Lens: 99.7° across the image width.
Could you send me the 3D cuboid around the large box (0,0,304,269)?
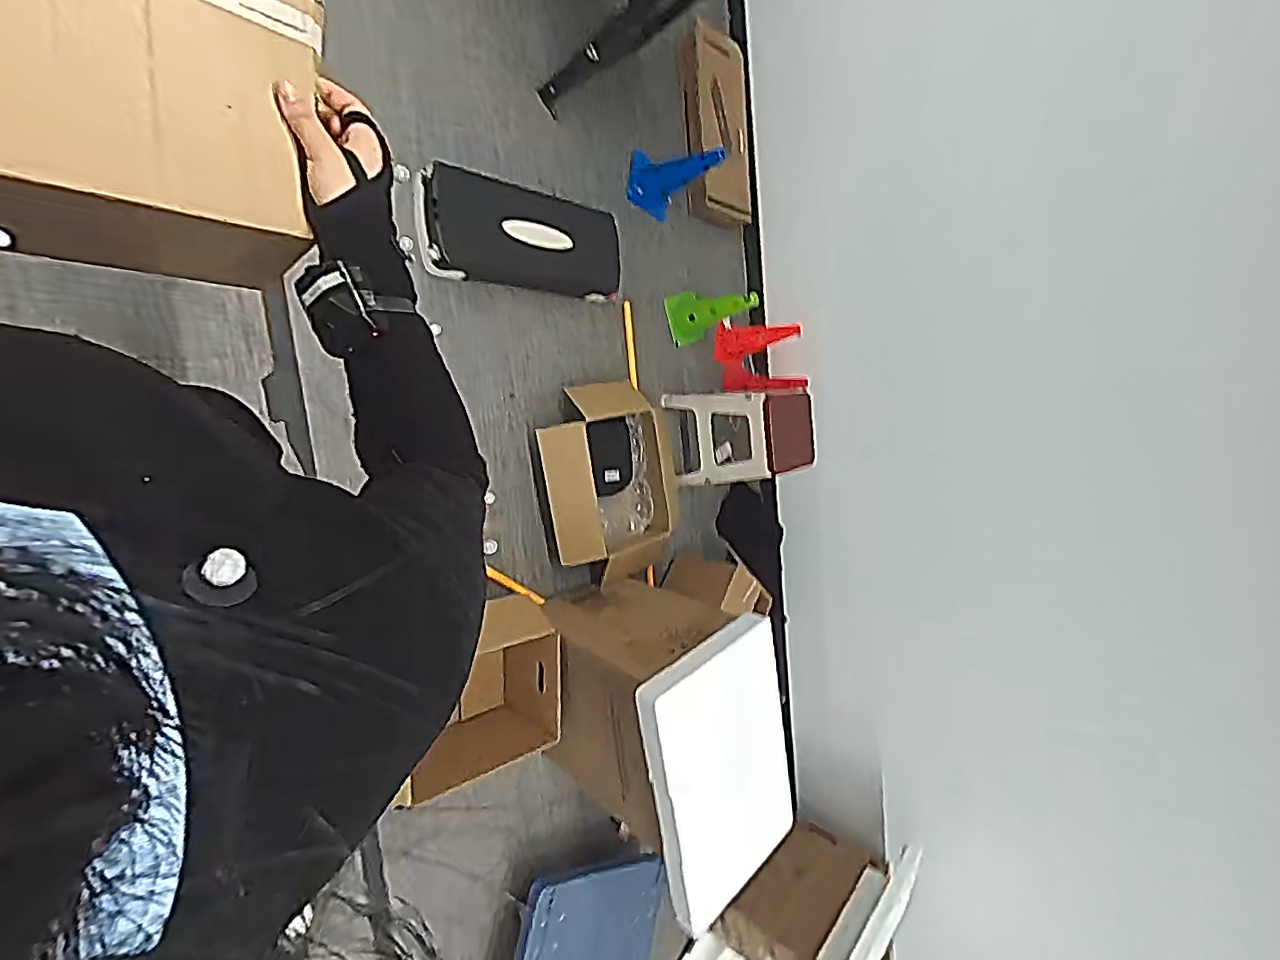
[{"bbox_3d":[-0.521,-0.372,0.414,0.408,0.320,0.320,-4,100,-41],"label":"large box"}]
